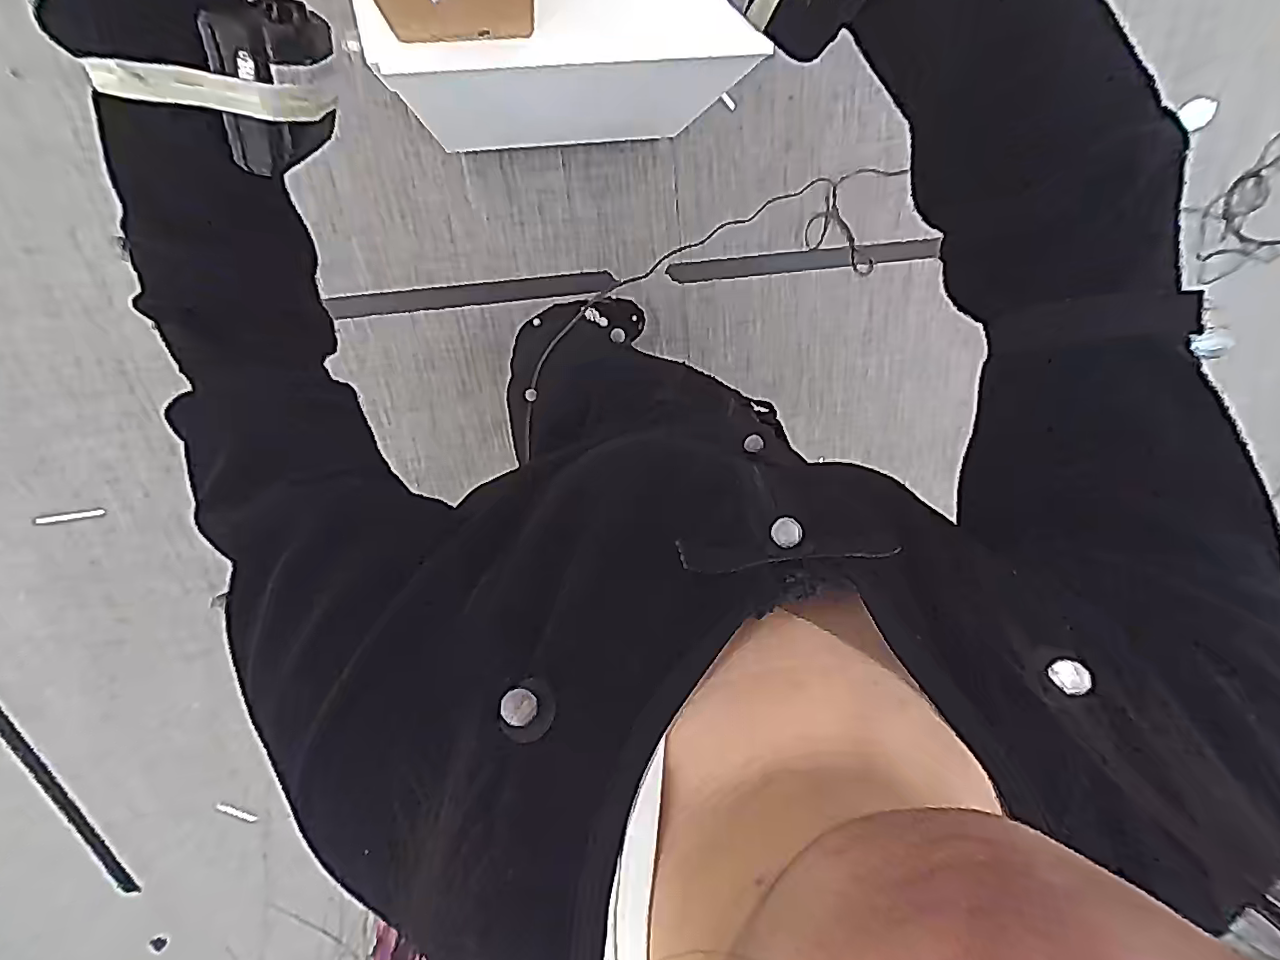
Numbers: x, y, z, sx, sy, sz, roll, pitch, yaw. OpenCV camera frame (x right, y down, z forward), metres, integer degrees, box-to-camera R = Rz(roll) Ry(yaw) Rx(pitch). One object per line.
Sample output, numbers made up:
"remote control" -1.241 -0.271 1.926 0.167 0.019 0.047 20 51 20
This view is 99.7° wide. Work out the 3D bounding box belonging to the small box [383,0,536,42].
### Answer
"small box" -0.200 -0.586 0.549 0.168 0.176 0.179 -9 112 -8
